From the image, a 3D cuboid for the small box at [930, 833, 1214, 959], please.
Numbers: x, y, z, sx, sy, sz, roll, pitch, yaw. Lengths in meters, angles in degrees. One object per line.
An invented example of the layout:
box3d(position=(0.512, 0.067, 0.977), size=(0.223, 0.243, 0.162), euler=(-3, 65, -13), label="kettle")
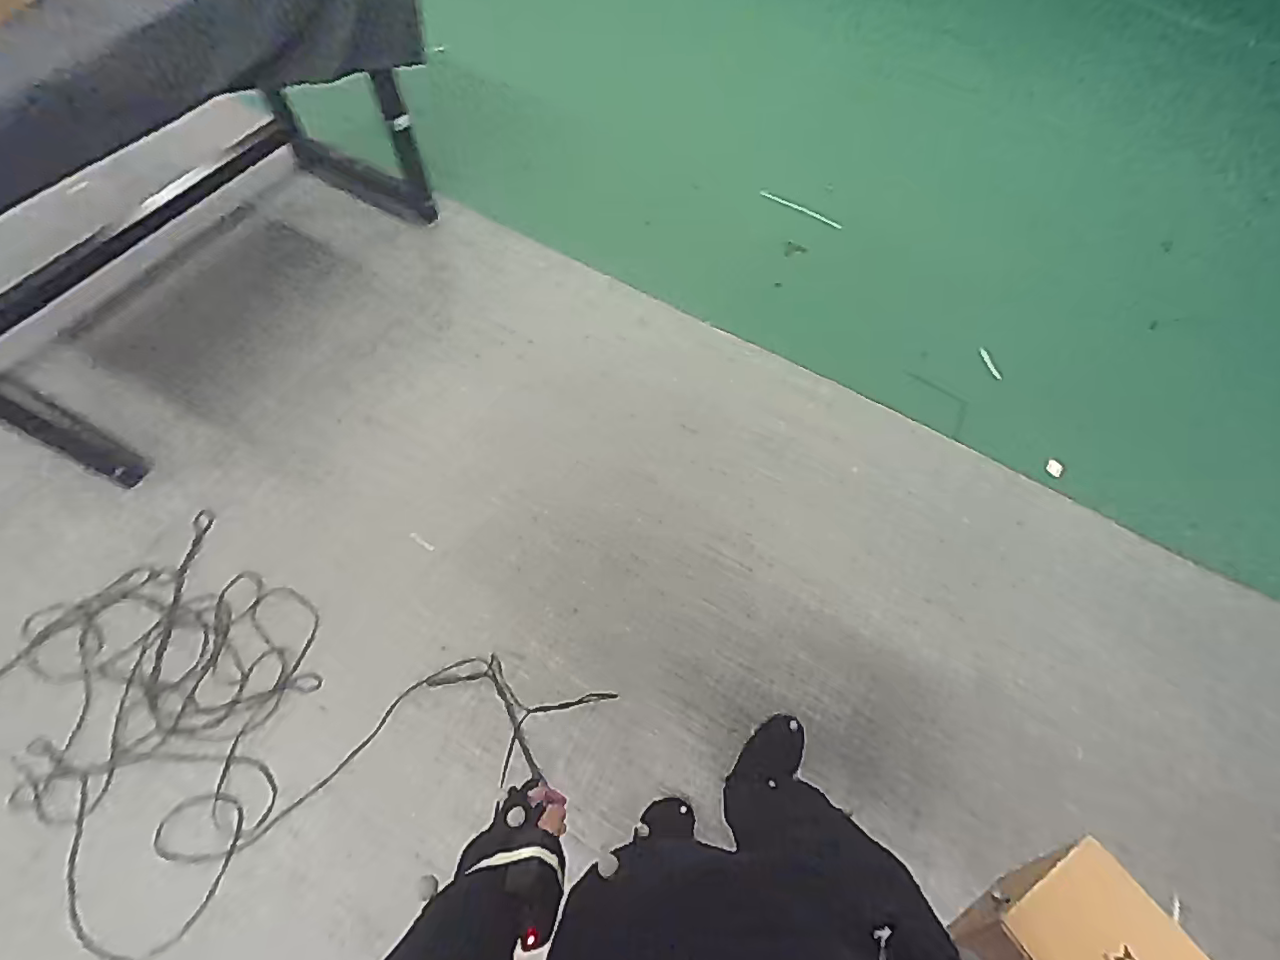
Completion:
box3d(position=(0.439, 0.508, 0.548), size=(0.179, 0.176, 0.168), euler=(-13, 45, -27), label="small box")
